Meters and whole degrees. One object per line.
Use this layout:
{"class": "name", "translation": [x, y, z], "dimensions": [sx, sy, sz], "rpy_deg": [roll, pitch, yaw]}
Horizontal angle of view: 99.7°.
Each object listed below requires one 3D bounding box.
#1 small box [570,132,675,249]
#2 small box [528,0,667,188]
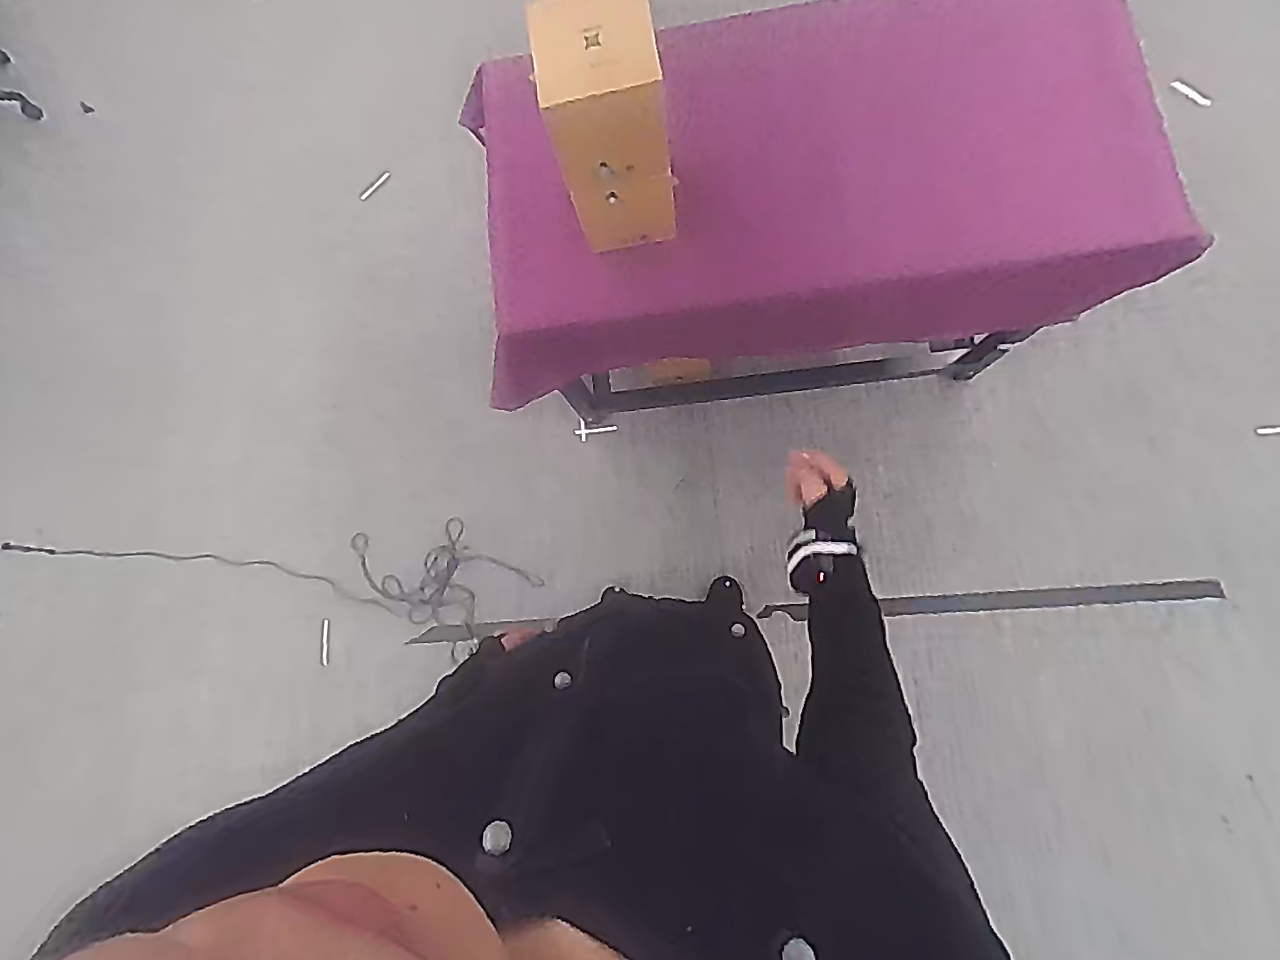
{"class": "small box", "translation": [-0.031, -0.541, 0.949], "dimensions": [0.168, 0.176, 0.179], "rpy_deg": [-8, 80, 5]}
{"class": "small box", "translation": [-0.055, -0.570, 0.790], "dimensions": [0.168, 0.176, 0.179], "rpy_deg": [-9, 80, 5]}
